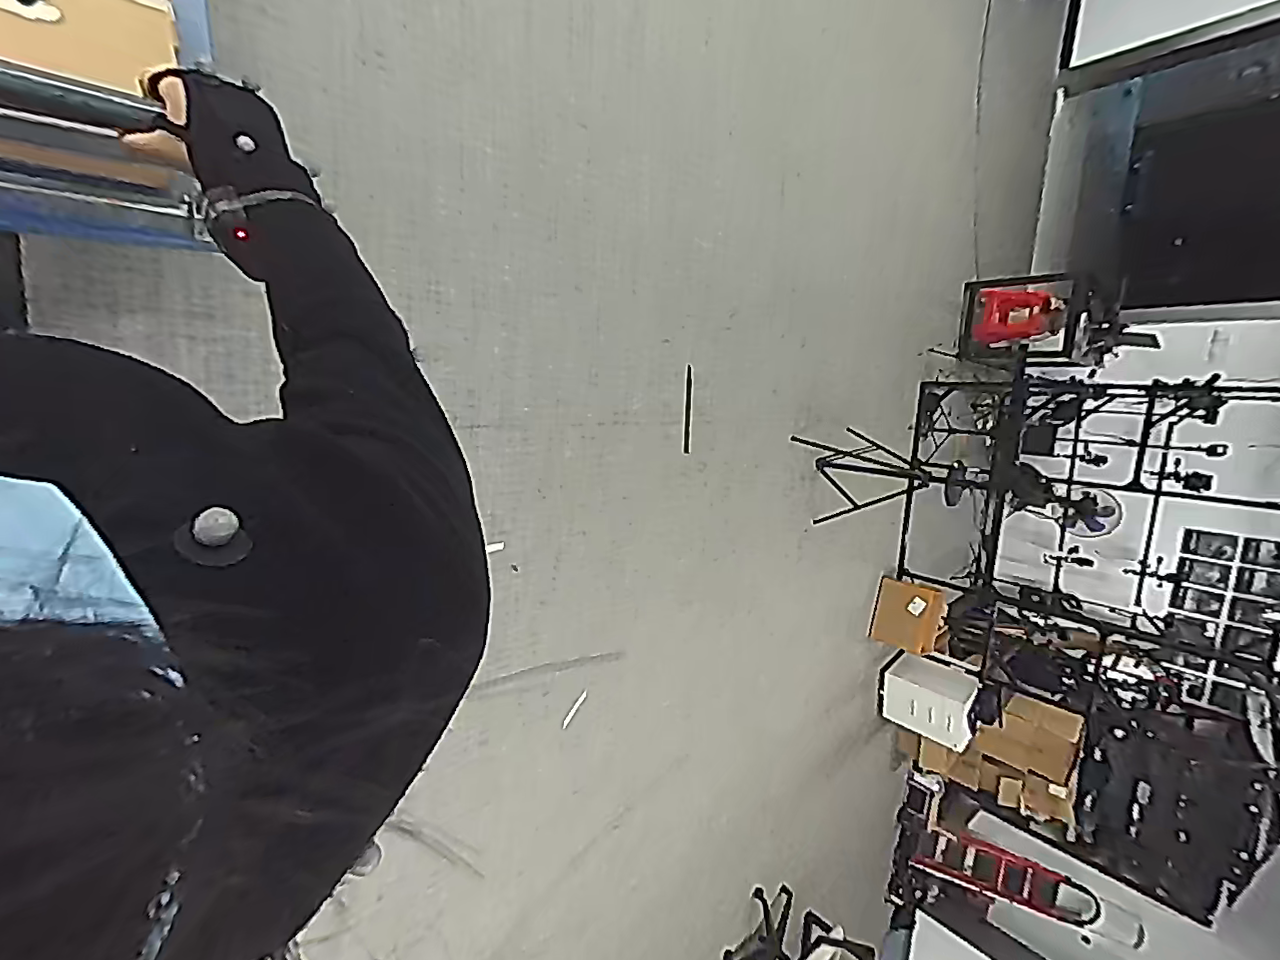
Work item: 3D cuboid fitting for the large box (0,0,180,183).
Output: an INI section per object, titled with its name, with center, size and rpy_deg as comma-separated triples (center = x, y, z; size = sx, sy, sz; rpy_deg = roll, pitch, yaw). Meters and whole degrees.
[large box]
center = -0.879, -0.619, 0.682
size = 0.408, 0.320, 0.320
rpy_deg = -10, 106, -44
